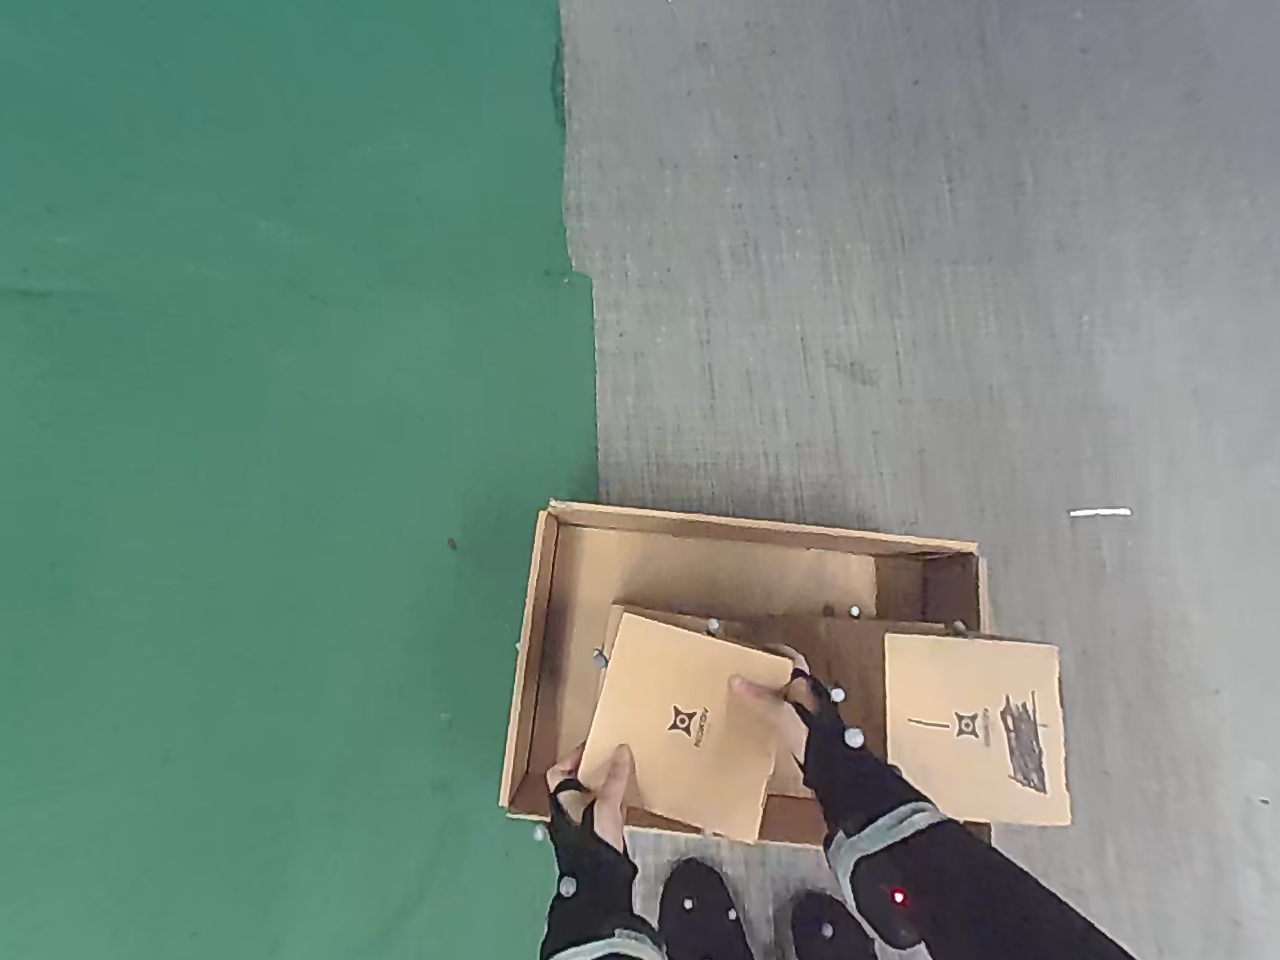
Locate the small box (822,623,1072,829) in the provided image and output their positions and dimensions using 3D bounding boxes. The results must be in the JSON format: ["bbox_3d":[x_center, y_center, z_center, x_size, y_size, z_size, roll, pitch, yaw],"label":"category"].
[{"bbox_3d":[0.316,0.250,0.589,0.179,0.176,0.168,4,79,-1],"label":"small box"}]

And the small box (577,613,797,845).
[{"bbox_3d":[0.042,0.246,0.580,0.179,0.176,0.168,16,78,0],"label":"small box"}]
